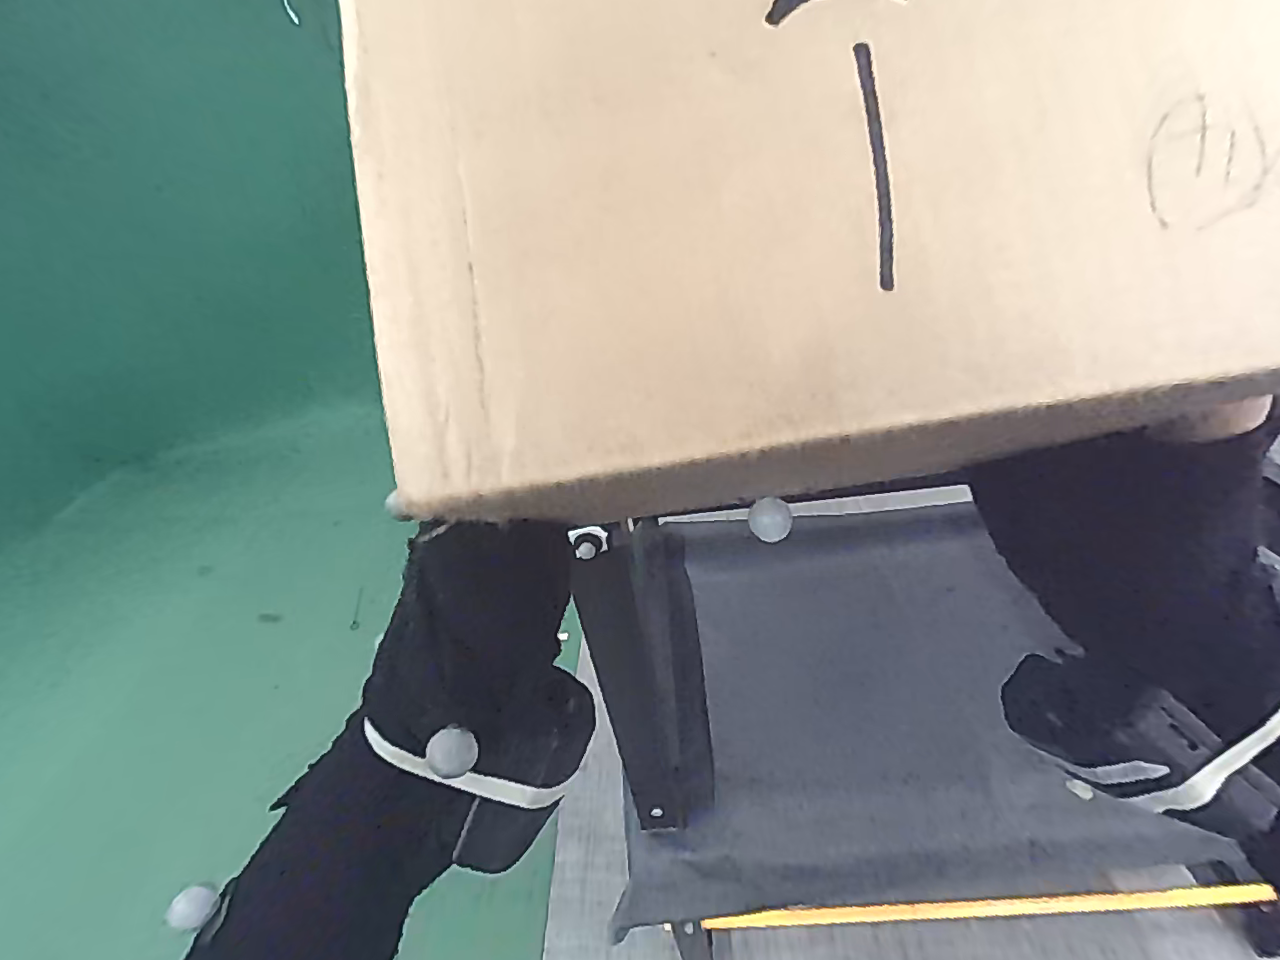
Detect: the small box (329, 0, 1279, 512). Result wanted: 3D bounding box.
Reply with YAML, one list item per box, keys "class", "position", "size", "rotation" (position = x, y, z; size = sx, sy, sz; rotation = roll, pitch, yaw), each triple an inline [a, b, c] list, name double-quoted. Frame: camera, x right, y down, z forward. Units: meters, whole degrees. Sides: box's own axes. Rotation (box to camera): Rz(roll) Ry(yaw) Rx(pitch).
- class: "small box"
  position: [0.031, -0.089, 0.171]
  size: [0.168, 0.179, 0.176]
  rotation: [-9, -6, 4]
